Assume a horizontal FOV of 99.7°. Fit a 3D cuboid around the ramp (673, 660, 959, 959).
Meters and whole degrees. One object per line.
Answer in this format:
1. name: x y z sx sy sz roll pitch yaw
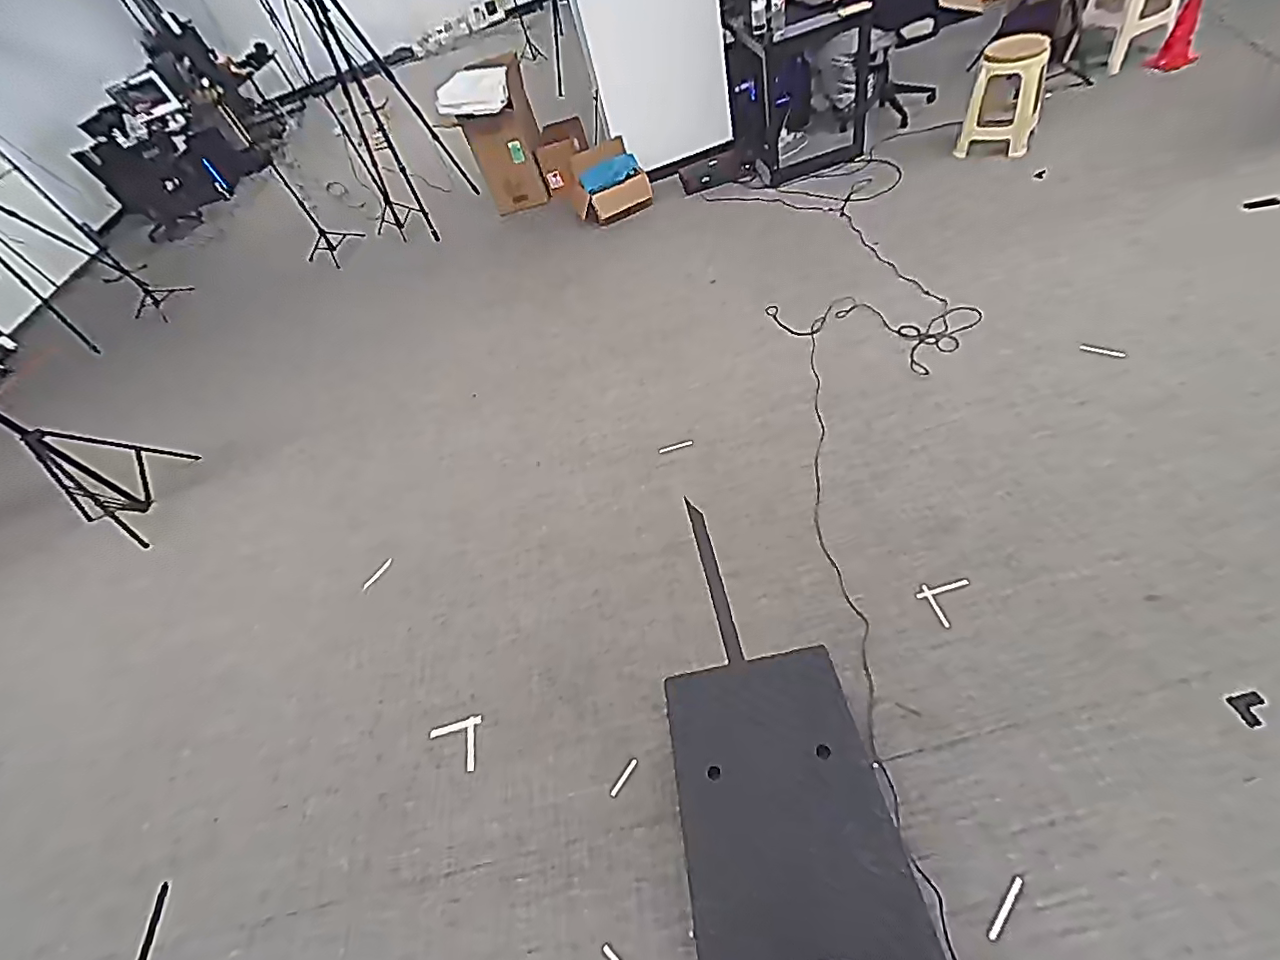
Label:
1. ramp: 0.371 0.894 1.216 0.509 0.206 0.991 -18 47 5
